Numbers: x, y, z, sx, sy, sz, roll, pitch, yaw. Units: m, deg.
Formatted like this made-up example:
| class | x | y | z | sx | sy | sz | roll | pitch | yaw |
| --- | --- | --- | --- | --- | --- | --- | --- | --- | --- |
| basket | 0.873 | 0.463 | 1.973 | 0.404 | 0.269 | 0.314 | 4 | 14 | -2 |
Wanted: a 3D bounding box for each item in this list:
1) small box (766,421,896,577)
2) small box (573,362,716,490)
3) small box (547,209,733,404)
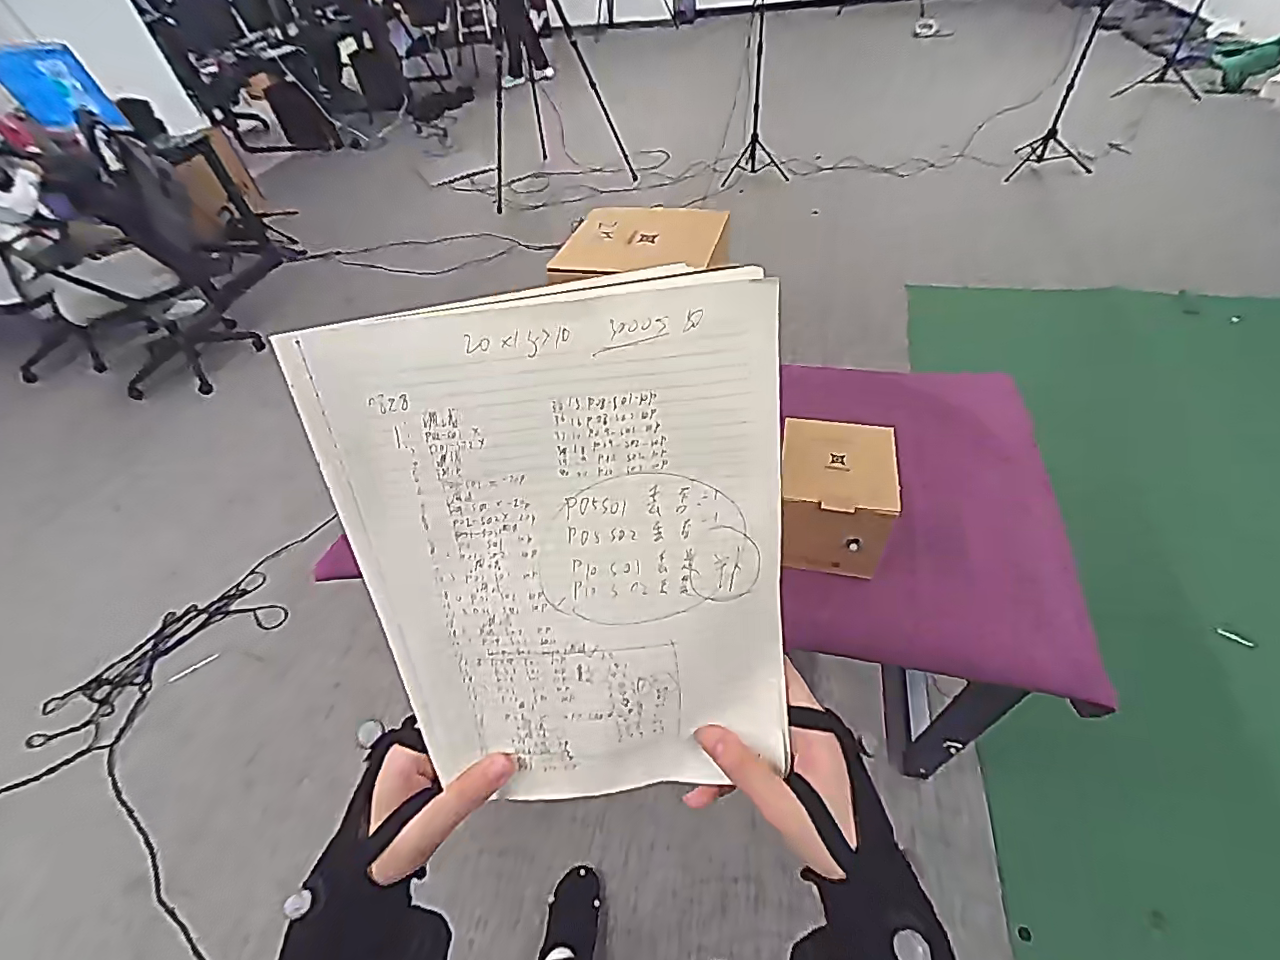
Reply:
| class | x | y | z | sx | sy | sz | roll | pitch | yaw |
| --- | --- | --- | --- | --- | --- | --- | --- | --- | --- |
| small box | 0.297 | 0.031 | 0.858 | 0.168 | 0.176 | 0.179 | 8 | 48 | 13 |
| small box | 0.019 | -0.106 | 0.794 | 0.168 | 0.176 | 0.179 | 7 | 48 | 13 |
| small box | 0.012 | -0.212 | 0.667 | 0.179 | 0.176 | 0.168 | 9 | 48 | 15 |
